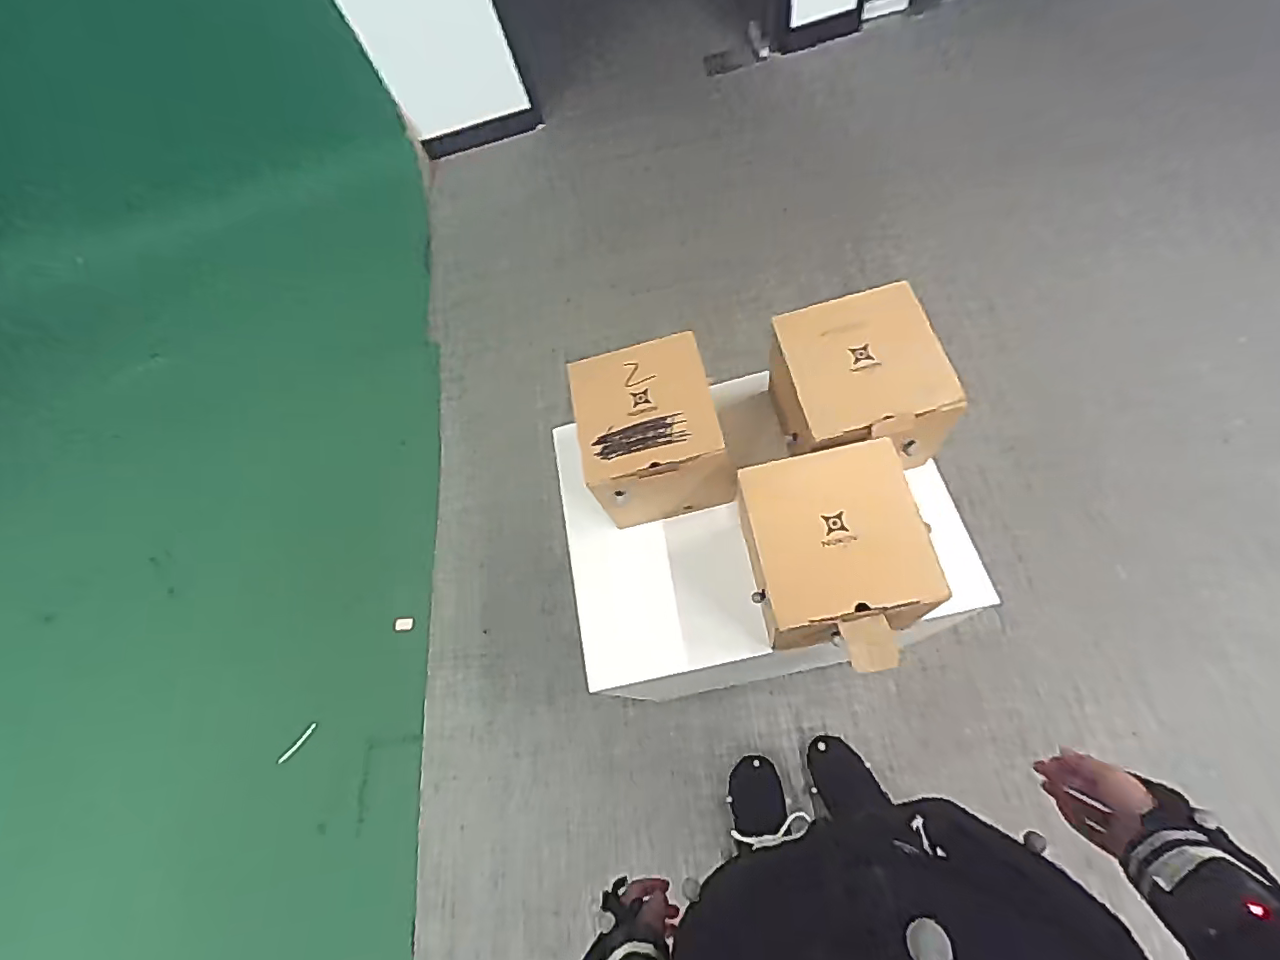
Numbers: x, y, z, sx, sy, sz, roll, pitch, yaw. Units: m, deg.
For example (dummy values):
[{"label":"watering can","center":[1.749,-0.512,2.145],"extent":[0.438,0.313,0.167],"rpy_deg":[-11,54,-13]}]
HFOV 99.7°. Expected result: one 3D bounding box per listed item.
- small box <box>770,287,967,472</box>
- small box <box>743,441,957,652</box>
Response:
[{"label":"small box","center":[0.268,-0.101,0.681],"extent":[0.168,0.176,0.179],"rpy_deg":[-14,64,5]},{"label":"small box","center":[0.215,0.084,0.612],"extent":[0.168,0.176,0.179],"rpy_deg":[-13,64,6]}]
